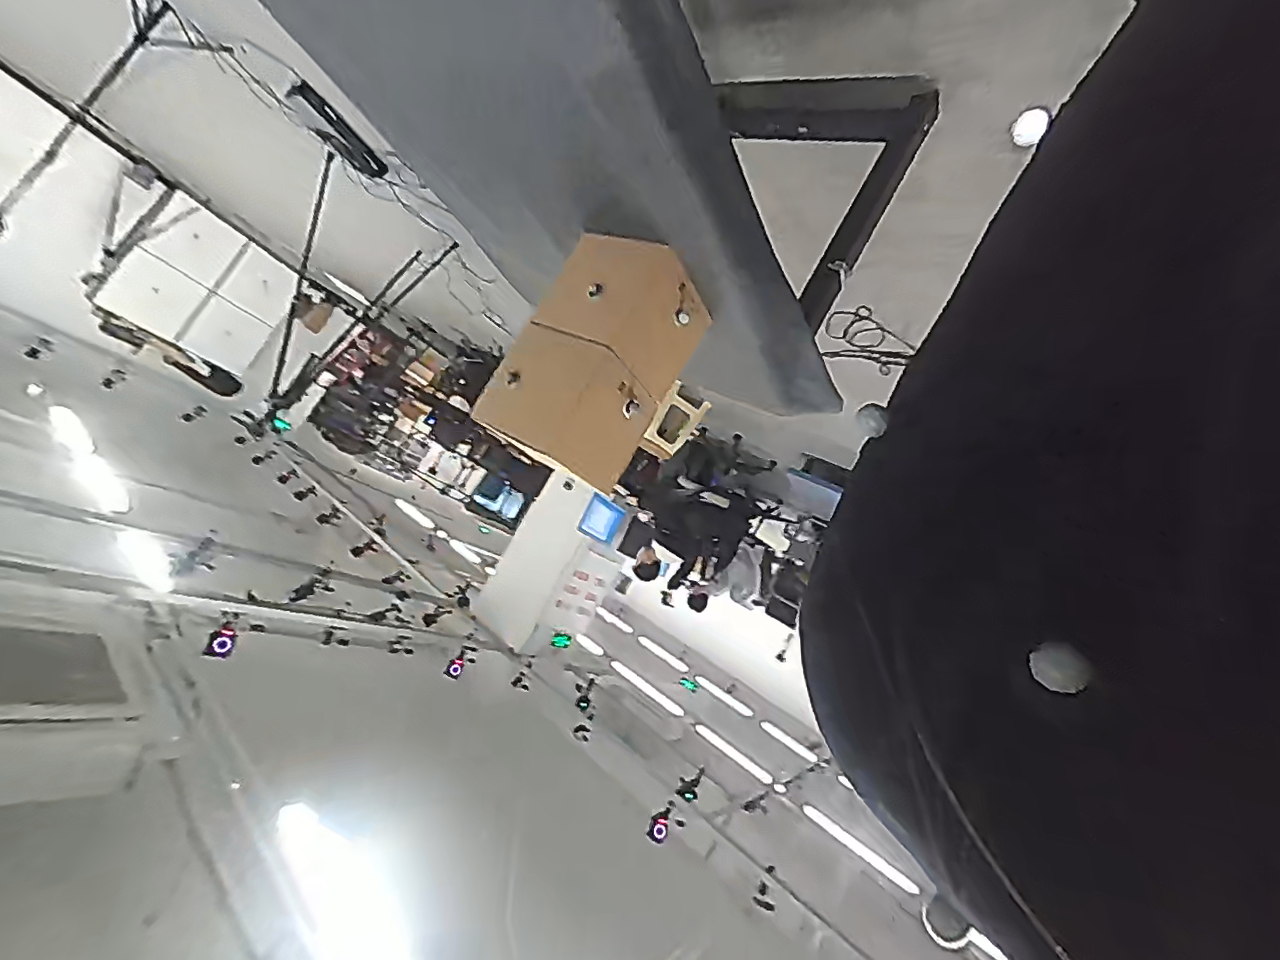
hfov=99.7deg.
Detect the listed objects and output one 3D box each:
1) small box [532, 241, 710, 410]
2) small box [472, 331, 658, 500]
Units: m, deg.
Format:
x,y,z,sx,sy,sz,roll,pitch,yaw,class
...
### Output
x,y,z,sx,sy,sz,roll,pitch,yaw,class
-0.023,-0.238,0.826,0.179,0.176,0.168,25,171,34,small box
-0.105,-0.099,0.806,0.179,0.176,0.168,25,172,35,small box
